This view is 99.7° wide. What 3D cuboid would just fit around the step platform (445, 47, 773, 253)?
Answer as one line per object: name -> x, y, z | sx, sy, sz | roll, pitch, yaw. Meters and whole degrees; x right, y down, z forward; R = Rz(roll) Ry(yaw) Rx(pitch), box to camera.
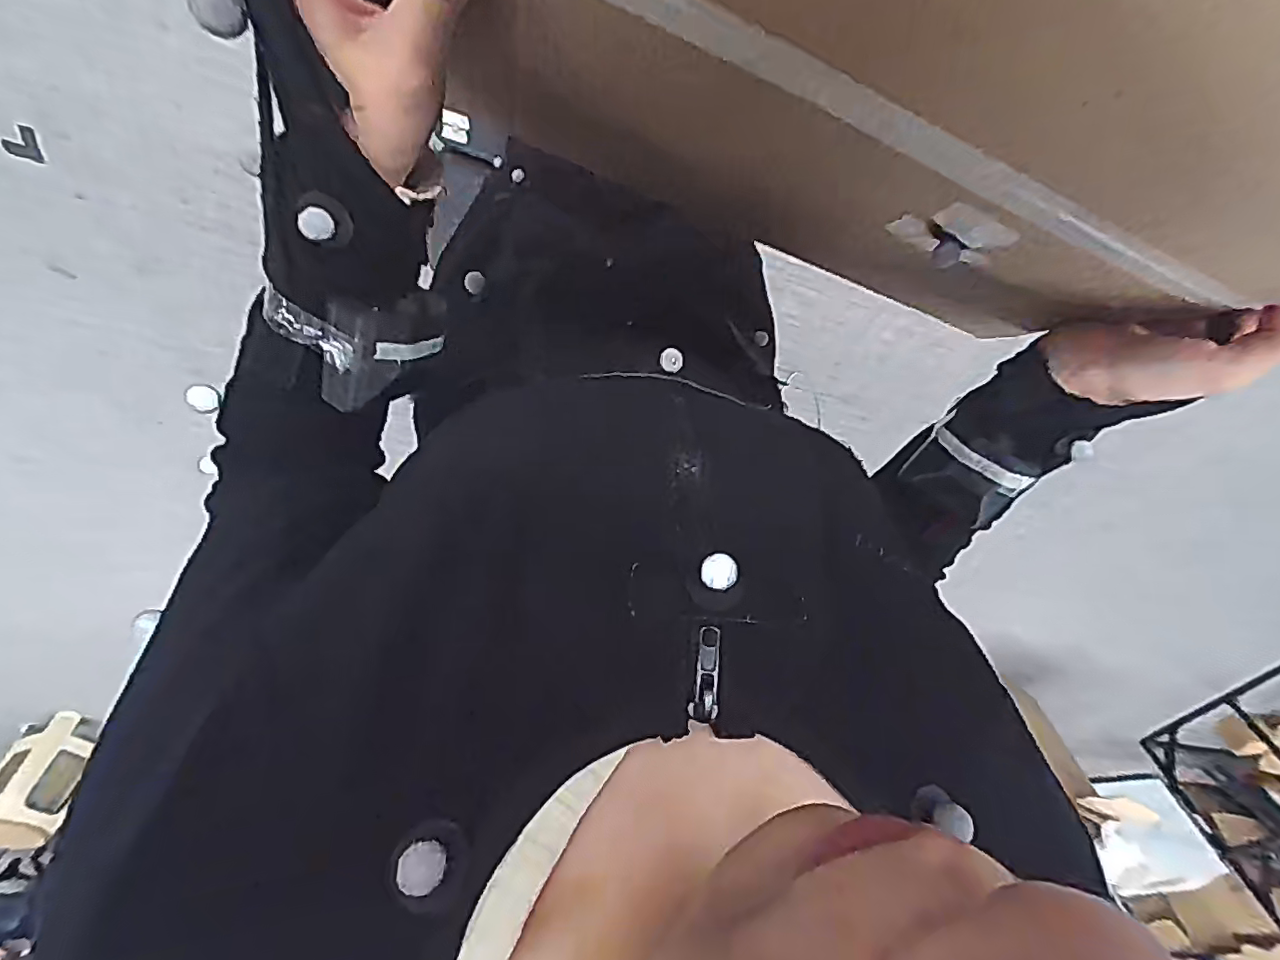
step platform -> -0.030, -0.734, 1.093 | 0.684, 0.204, 0.286 | 17, 127, -19
